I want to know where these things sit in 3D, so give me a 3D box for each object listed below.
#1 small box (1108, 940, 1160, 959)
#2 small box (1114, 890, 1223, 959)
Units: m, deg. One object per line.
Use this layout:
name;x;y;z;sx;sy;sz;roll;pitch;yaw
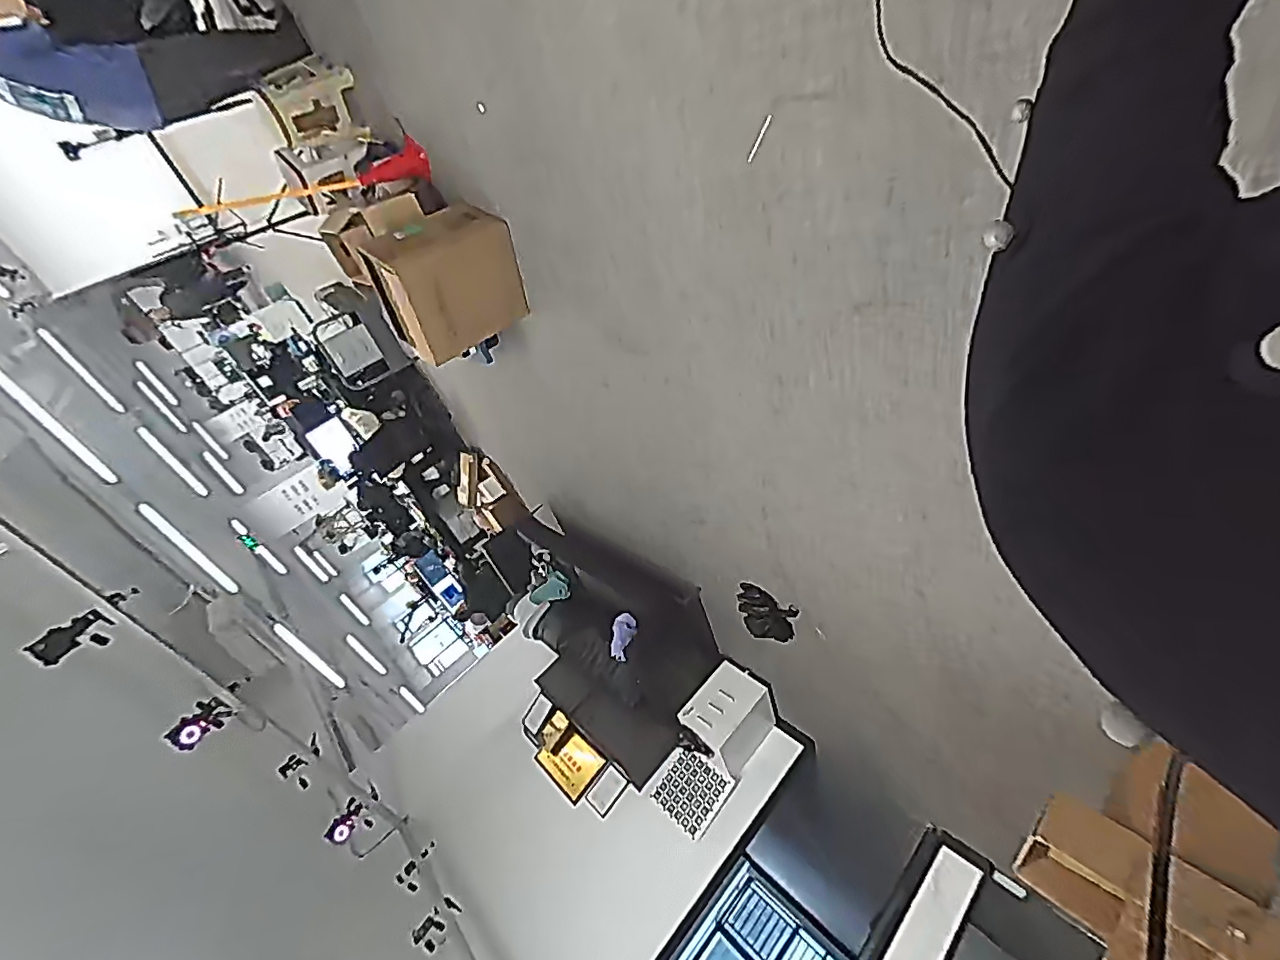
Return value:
small box;1.413;1.437;1.507;0.168;0.176;0.179;30;148;43
small box;1.529;1.336;1.564;0.168;0.176;0.179;30;150;42
